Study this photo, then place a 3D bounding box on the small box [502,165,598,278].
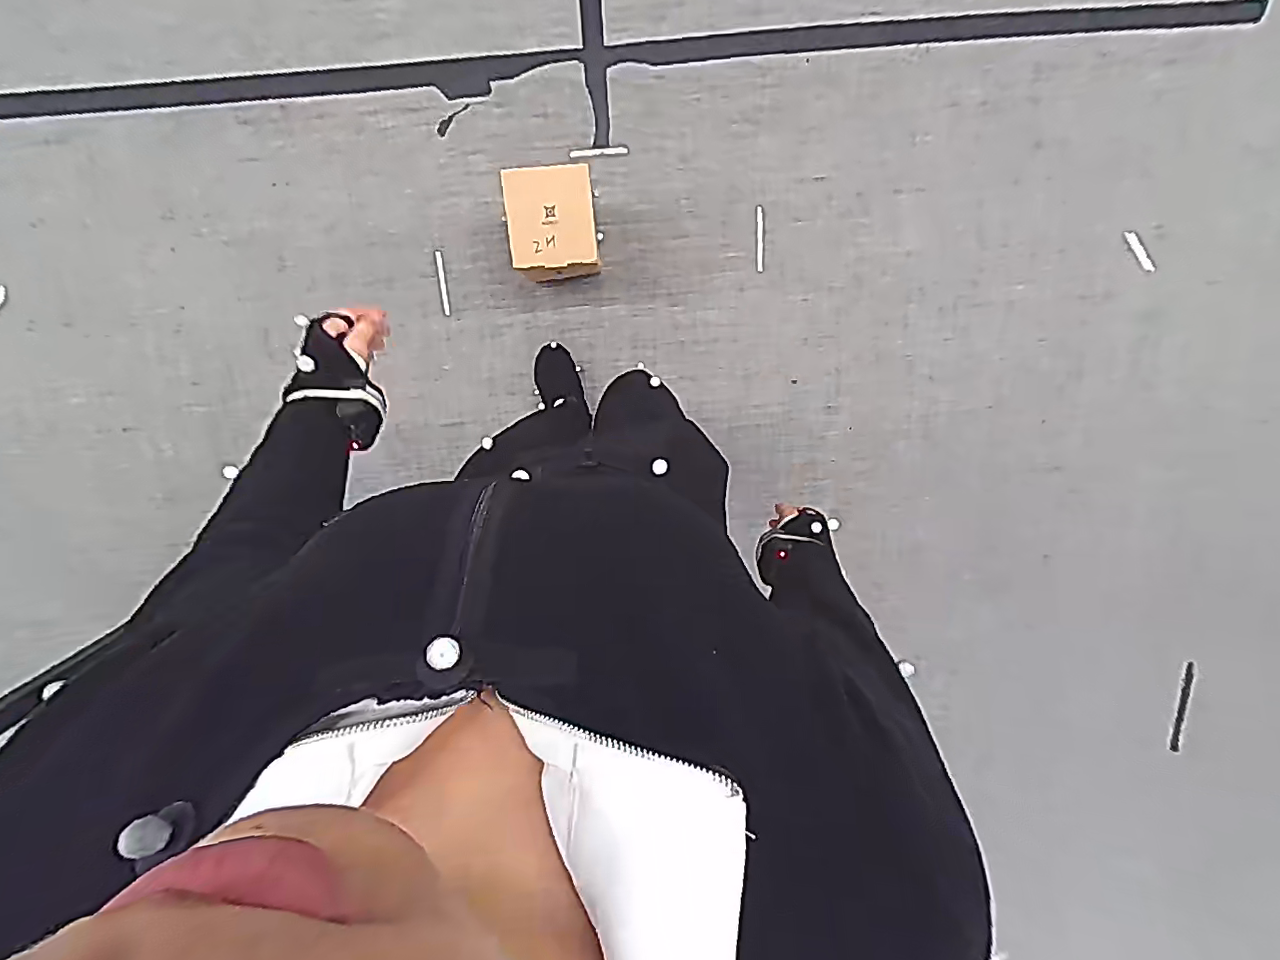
[{"bbox_3d":[-0.174,-0.513,1.092,0.168,0.176,0.179,-5,106,-2],"label":"small box"}]
